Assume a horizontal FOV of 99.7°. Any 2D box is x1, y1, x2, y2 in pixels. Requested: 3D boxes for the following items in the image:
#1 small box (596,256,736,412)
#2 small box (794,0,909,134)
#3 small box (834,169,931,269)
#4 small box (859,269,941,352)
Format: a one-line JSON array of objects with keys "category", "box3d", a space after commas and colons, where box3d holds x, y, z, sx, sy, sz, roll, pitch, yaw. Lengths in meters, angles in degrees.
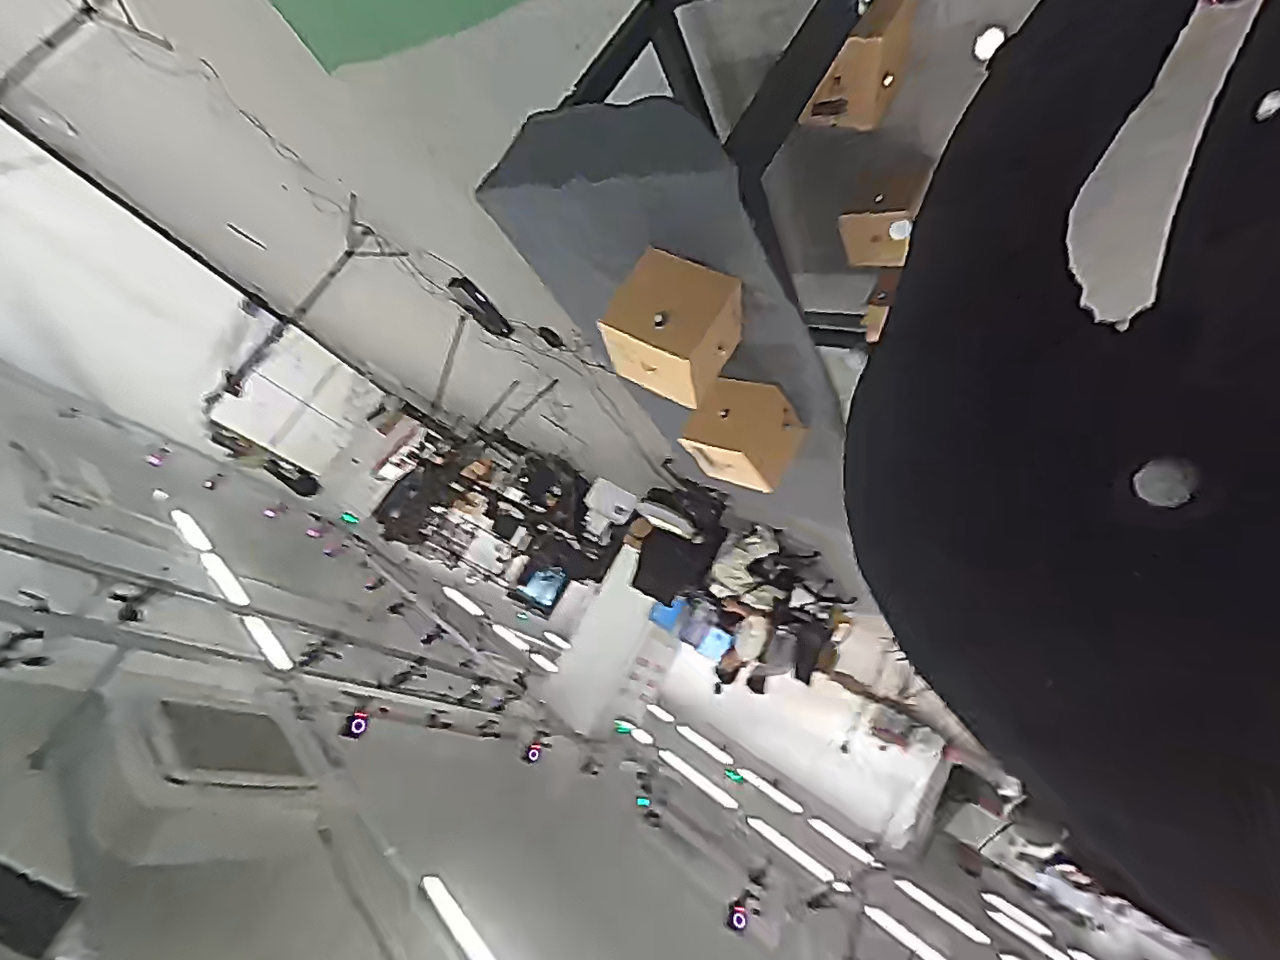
[{"category": "small box", "box3d": [0.054, -0.252, 0.933, 0.179, 0.176, 0.168, 29, 167, 18]}, {"category": "small box", "box3d": [0.429, -0.855, 1.108, 0.168, 0.176, 0.179, 24, 164, 25]}, {"category": "small box", "box3d": [0.627, -0.664, 1.382, 0.179, 0.176, 0.168, 21, 163, 40]}, {"category": "small box", "box3d": [0.778, -0.513, 1.618, 0.179, 0.176, 0.168, 22, 165, 33]}]
